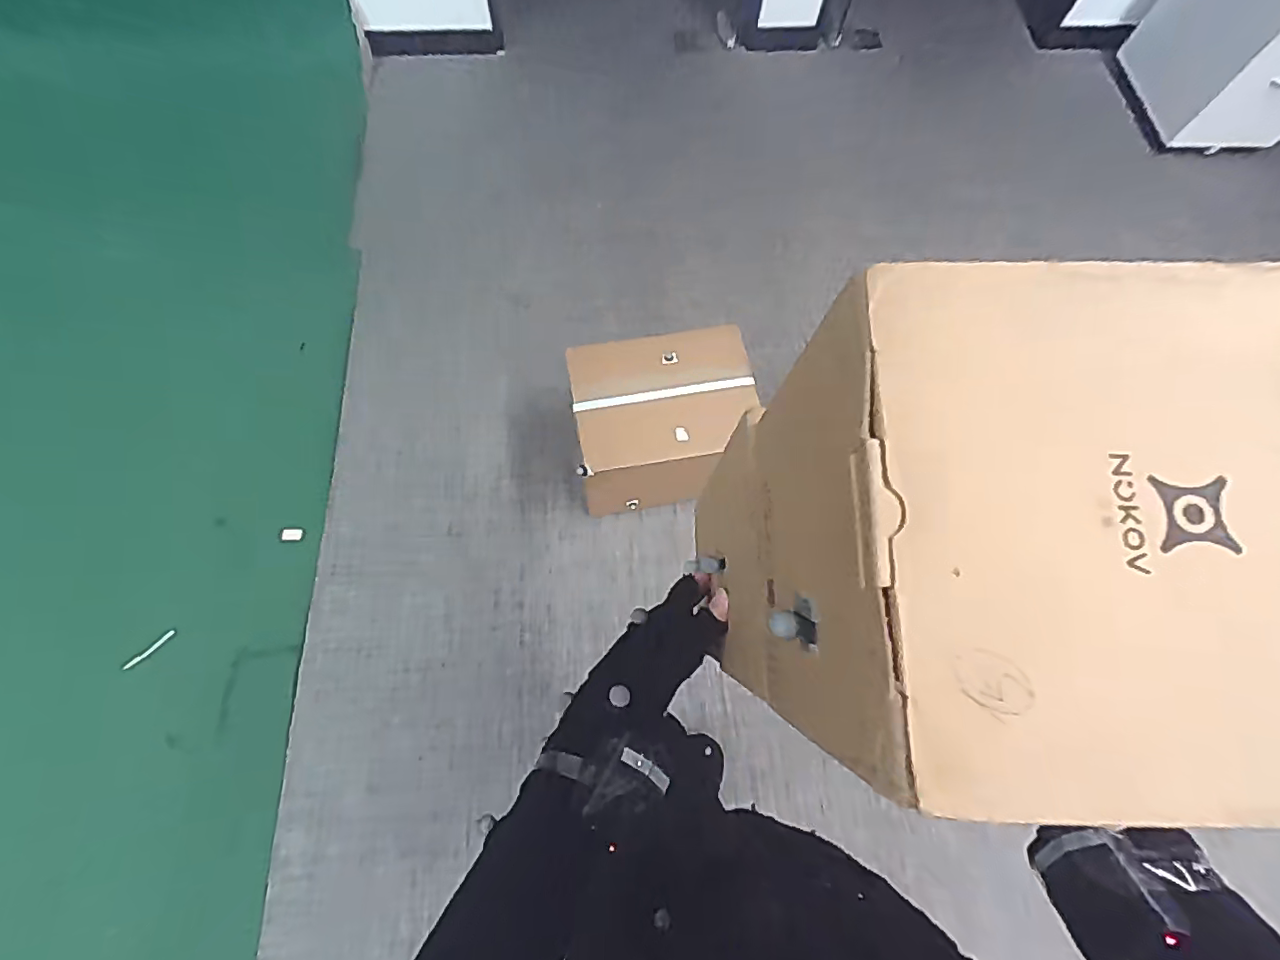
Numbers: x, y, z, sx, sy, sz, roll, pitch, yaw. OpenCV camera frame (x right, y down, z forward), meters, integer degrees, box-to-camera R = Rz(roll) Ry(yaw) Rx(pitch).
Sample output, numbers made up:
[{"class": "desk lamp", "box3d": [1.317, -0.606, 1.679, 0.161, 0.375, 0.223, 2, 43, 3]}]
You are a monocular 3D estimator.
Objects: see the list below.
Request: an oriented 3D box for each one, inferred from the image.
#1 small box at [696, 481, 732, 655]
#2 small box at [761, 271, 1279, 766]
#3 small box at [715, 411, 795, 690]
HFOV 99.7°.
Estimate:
[{"class": "small box", "box3d": [0.155, 0.095, 0.573, 0.179, 0.176, 0.168, 0, 76, 1]}, {"class": "small box", "box3d": [0.159, 0.023, 0.256, 0.179, 0.176, 0.168, 0, 78, -1]}, {"class": "small box", "box3d": [0.151, 0.056, 0.415, 0.168, 0.176, 0.179, -1, 76, 0]}]
